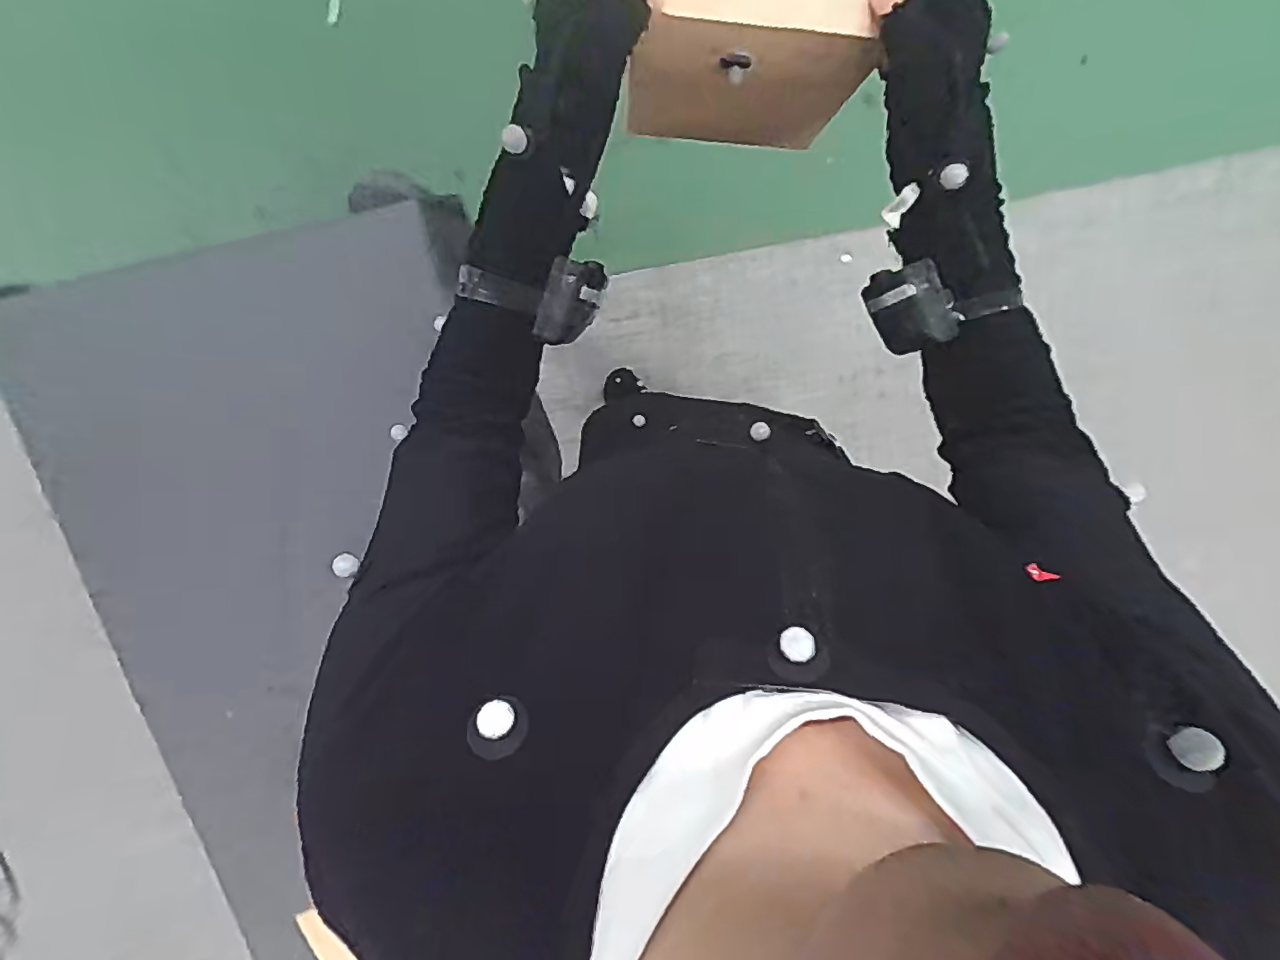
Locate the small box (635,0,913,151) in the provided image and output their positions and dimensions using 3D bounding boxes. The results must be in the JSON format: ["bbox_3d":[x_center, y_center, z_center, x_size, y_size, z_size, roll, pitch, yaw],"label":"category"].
[{"bbox_3d":[0.091,-0.381,0.417,0.179,0.176,0.168,4,100,-5],"label":"small box"}]
